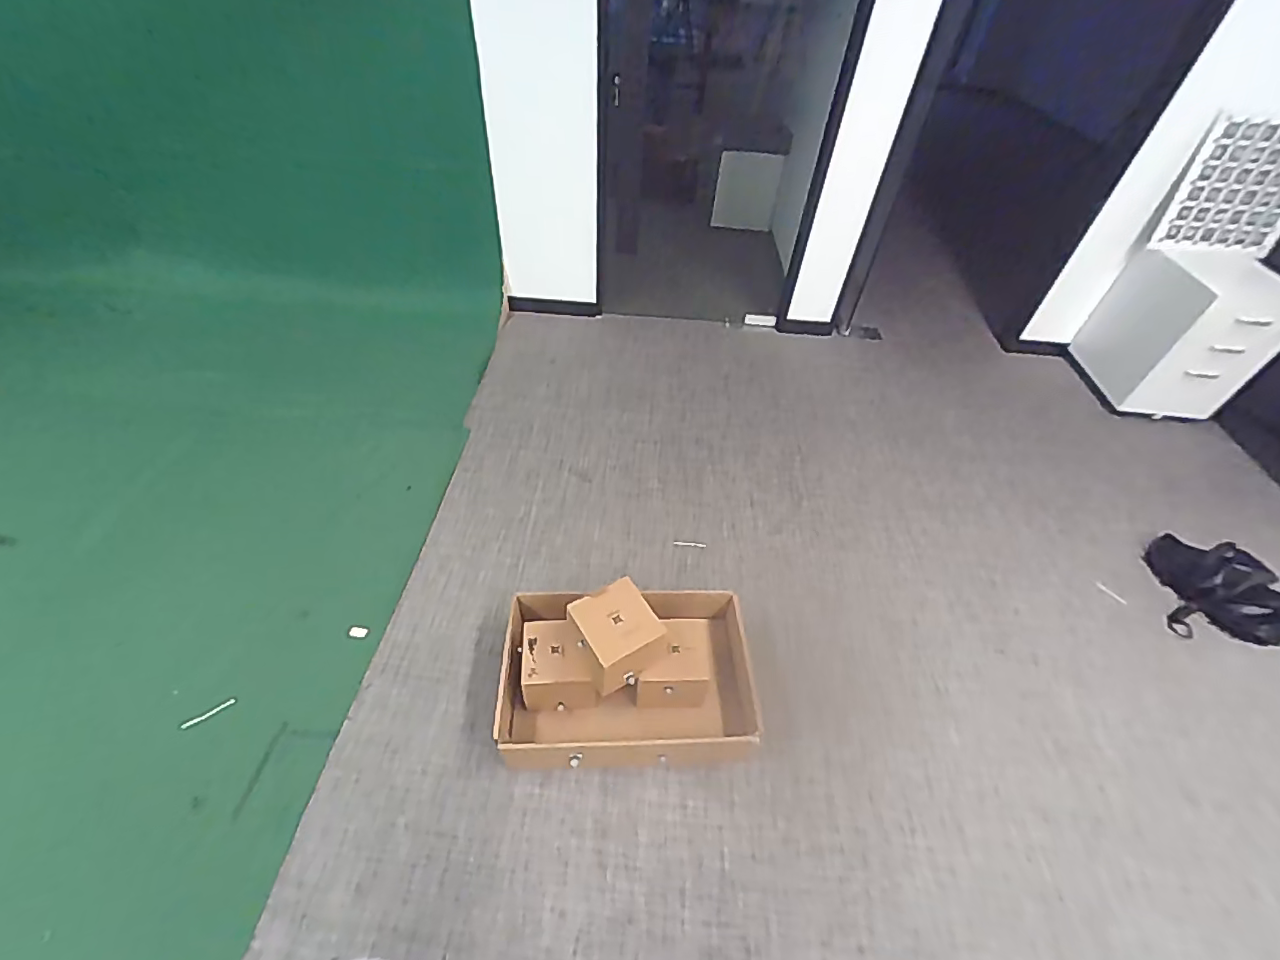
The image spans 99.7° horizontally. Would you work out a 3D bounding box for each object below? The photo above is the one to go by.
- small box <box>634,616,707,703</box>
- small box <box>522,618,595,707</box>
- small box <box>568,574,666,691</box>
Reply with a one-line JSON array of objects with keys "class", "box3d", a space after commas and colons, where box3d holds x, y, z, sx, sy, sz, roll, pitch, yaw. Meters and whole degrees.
[{"class": "small box", "box3d": [0.073, 0.471, 1.413, 0.179, 0.176, 0.168, 1, 47, -3]}, {"class": "small box", "box3d": [-0.208, 0.470, 1.390, 0.179, 0.176, 0.168, 0, 46, -8]}, {"class": "small box", "box3d": [-0.061, 0.363, 1.283, 0.168, 0.176, 0.179, -24, 54, -24]}]
